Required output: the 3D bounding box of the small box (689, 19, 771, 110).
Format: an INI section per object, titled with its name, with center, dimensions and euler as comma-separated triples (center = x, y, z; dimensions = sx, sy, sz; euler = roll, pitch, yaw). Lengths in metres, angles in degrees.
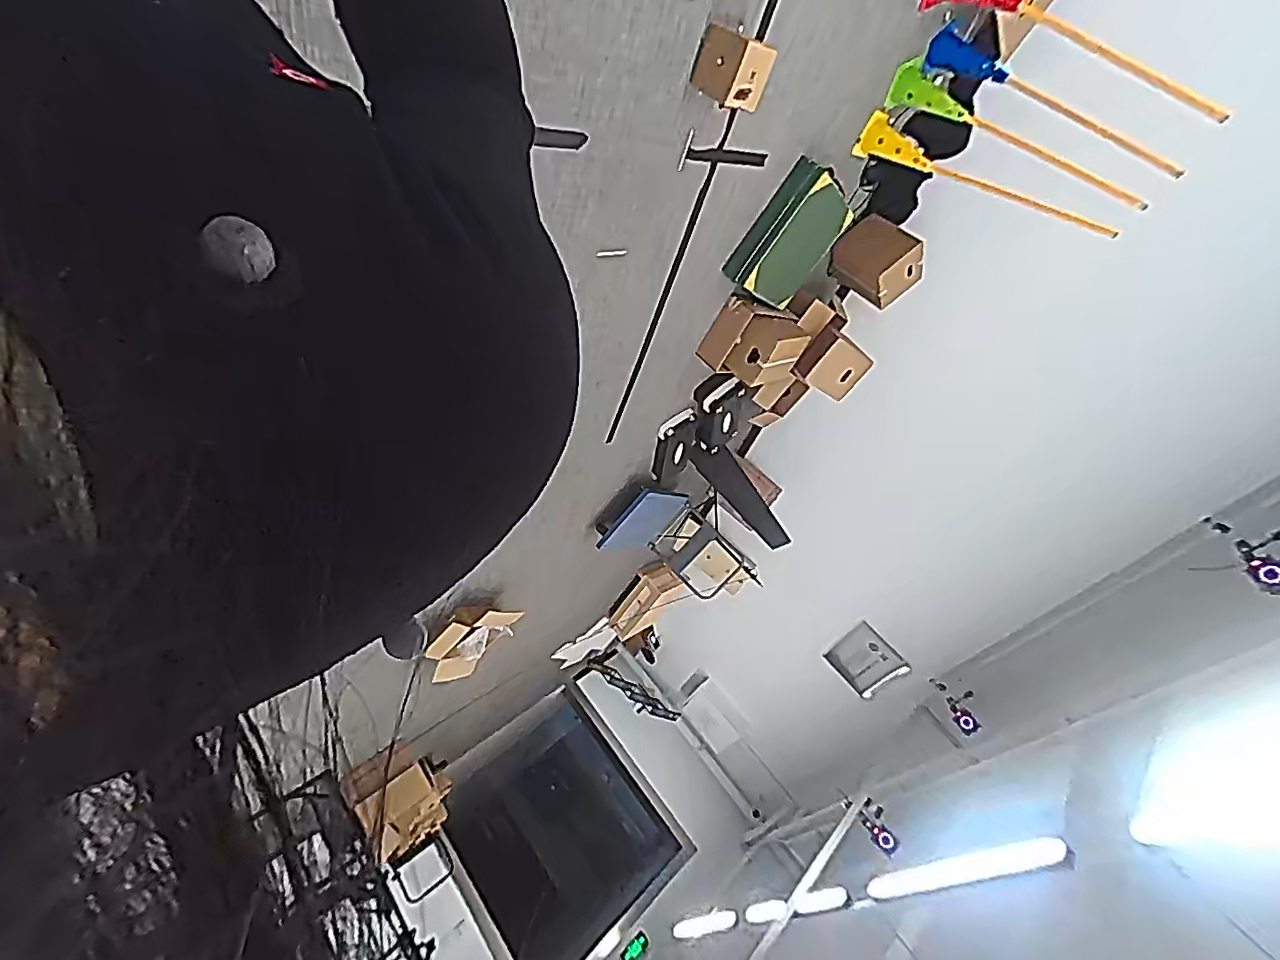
[small box]
center = 0.282, -1.339, 1.746
dimensions = 0.168, 0.176, 0.179
euler = -24, 151, -41
